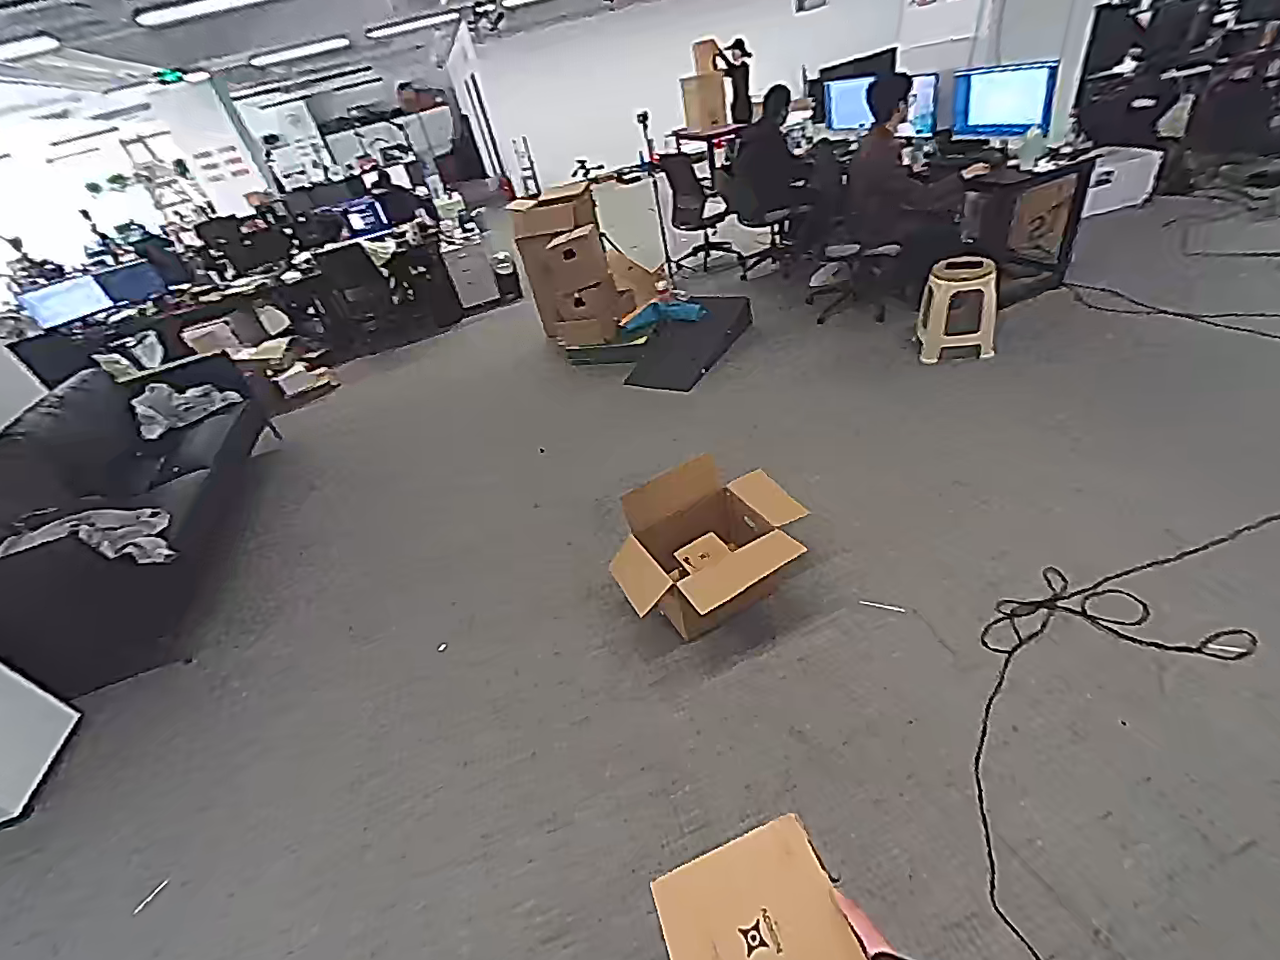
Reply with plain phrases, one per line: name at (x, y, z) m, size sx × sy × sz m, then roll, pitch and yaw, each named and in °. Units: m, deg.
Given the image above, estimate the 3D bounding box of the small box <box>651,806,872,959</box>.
small box at (0.133, 0.482, 0.554) m, size 0.179 × 0.176 × 0.168 m, roll -24°, pitch 33°, yaw 0°
